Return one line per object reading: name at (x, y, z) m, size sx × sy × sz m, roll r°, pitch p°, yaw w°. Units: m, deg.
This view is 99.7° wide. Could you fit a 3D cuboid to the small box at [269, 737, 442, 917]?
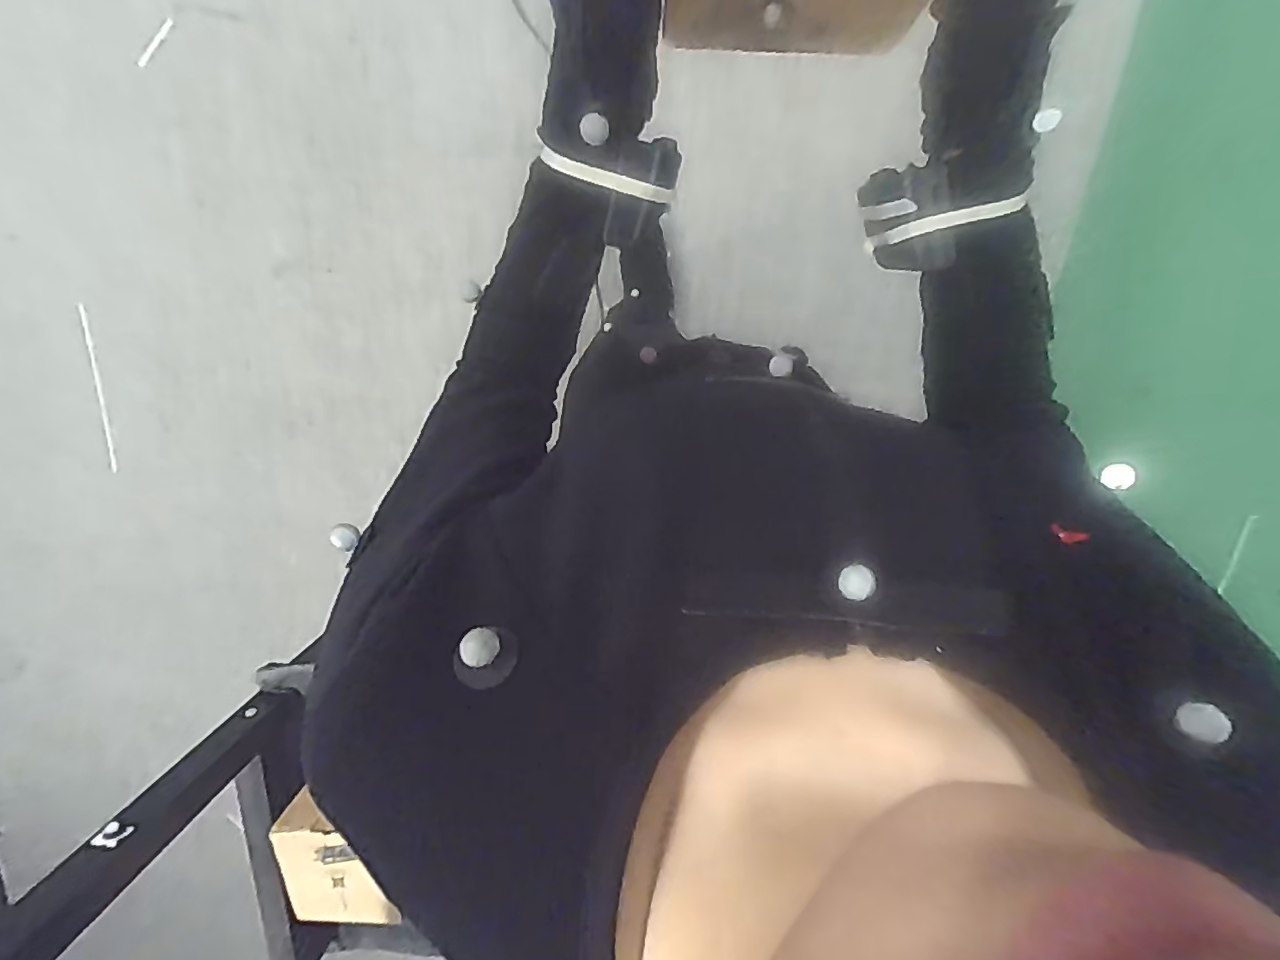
small box at (-0.428, 0.530, 0.844) m, size 0.168 × 0.176 × 0.179 m, roll 0°, pitch 107°, yaw 4°
